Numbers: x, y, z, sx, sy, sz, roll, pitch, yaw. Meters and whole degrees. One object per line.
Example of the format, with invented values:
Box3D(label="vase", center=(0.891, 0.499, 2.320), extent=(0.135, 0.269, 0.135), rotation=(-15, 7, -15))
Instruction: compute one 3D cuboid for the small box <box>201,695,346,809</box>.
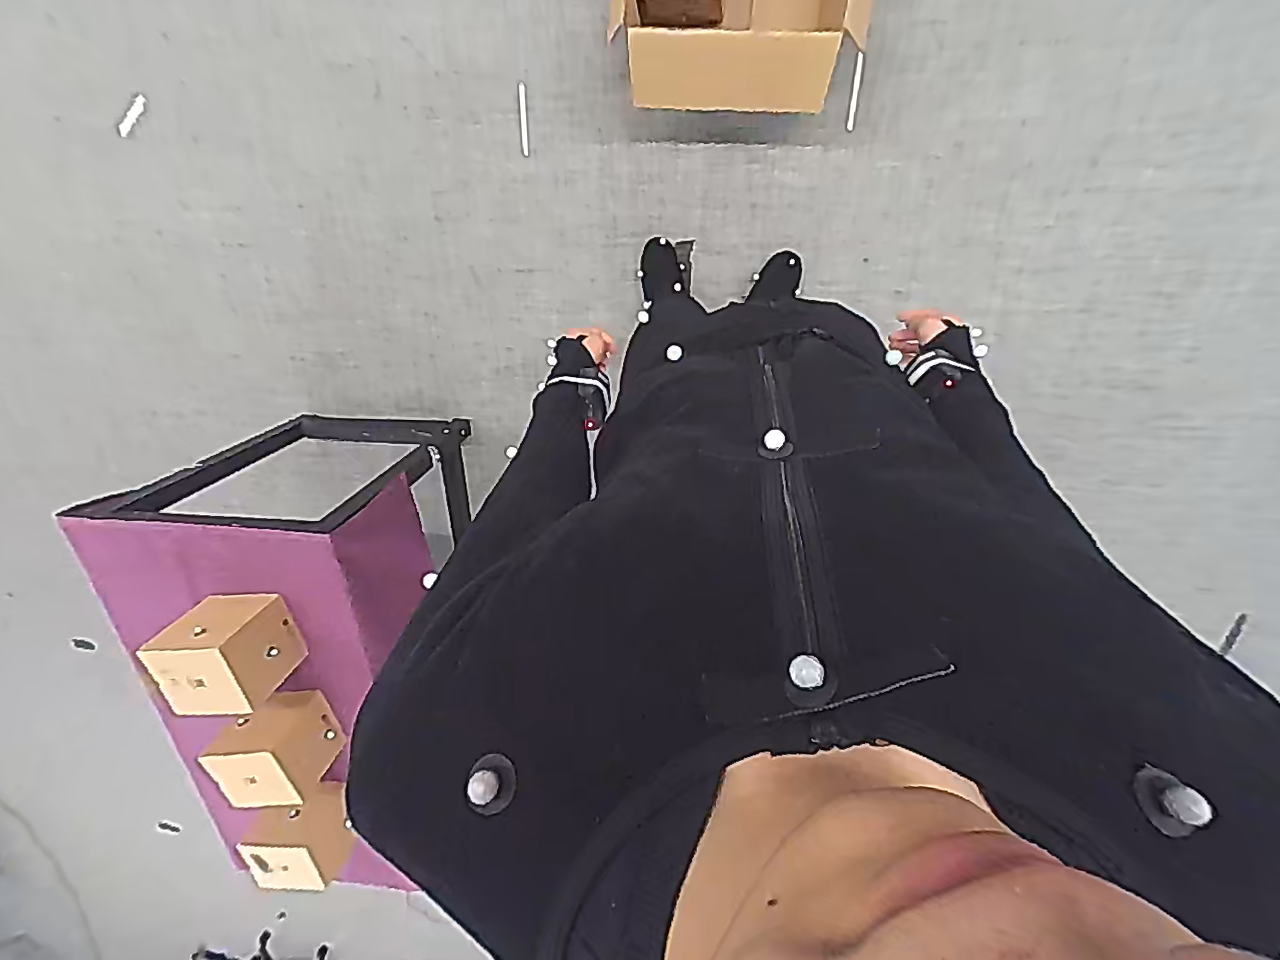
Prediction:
Box3D(label="small box", center=(-0.812, 0.607, 1.218), extent=(0.179, 0.176, 0.168), rotation=(-7, 115, 10))

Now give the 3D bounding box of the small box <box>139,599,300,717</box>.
Box3D(label="small box", center=(-0.834, 0.357, 1.101), extent=(0.179, 0.176, 0.168), rotation=(-3, 114, 9))

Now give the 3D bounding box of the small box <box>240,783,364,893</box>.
Box3D(label="small box", center=(-0.831, 0.884, 1.348), extent=(0.179, 0.176, 0.168), rotation=(-1, 115, 7))
